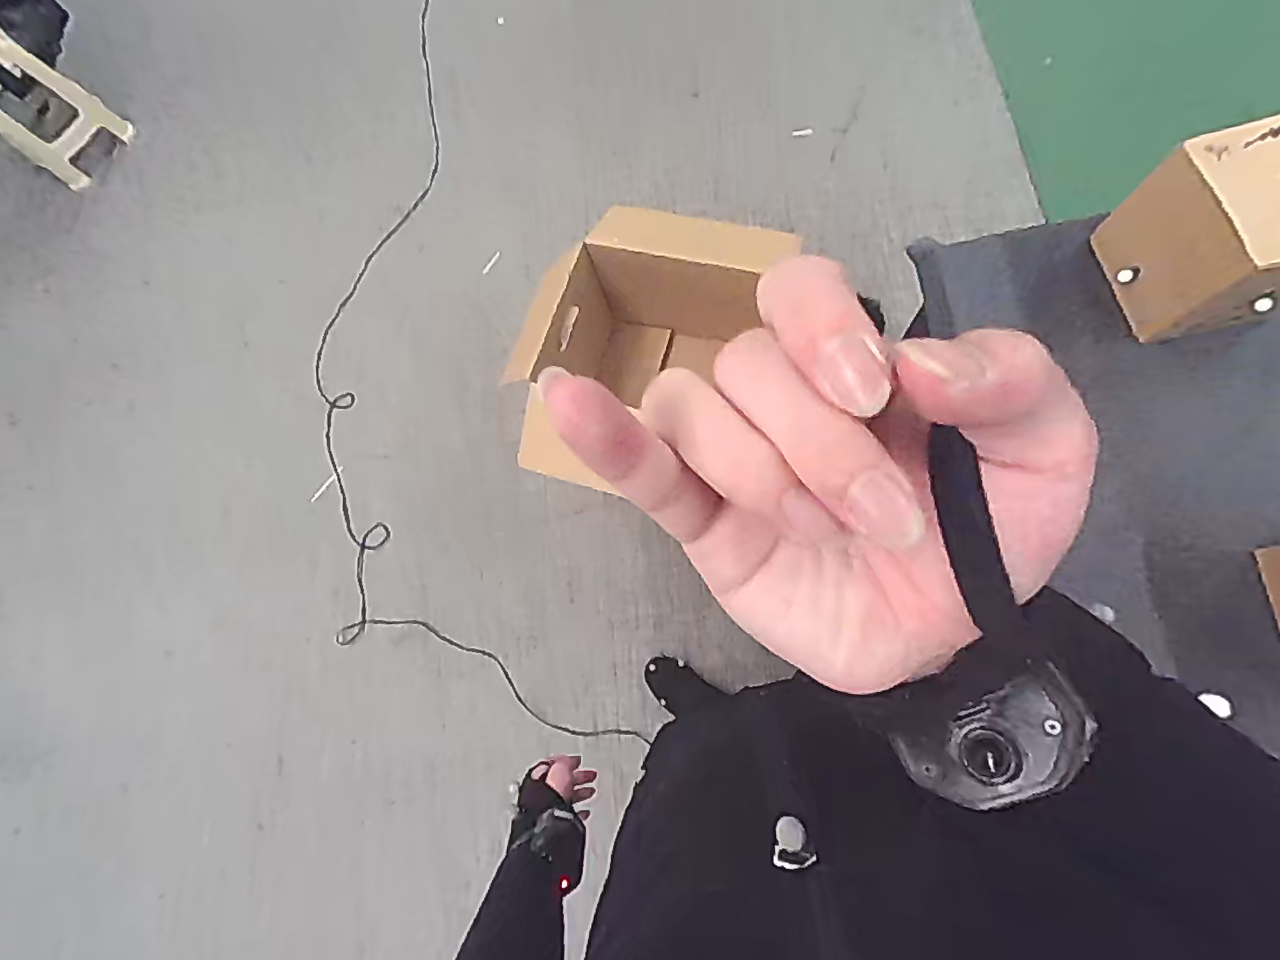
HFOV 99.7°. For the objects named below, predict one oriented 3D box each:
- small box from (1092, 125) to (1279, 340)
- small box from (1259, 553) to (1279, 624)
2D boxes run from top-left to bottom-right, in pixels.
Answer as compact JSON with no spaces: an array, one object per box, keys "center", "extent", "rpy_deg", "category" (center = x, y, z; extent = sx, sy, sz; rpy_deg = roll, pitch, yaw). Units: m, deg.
[{"center":[0.718,-0.290,0.661],"extent":[0.168,0.176,0.179],"rpy_deg":[-12,74,5],"category":"small box"},{"center":[0.797,0.146,0.529],"extent":[0.168,0.176,0.179],"rpy_deg":[-4,73,7],"category":"small box"}]
